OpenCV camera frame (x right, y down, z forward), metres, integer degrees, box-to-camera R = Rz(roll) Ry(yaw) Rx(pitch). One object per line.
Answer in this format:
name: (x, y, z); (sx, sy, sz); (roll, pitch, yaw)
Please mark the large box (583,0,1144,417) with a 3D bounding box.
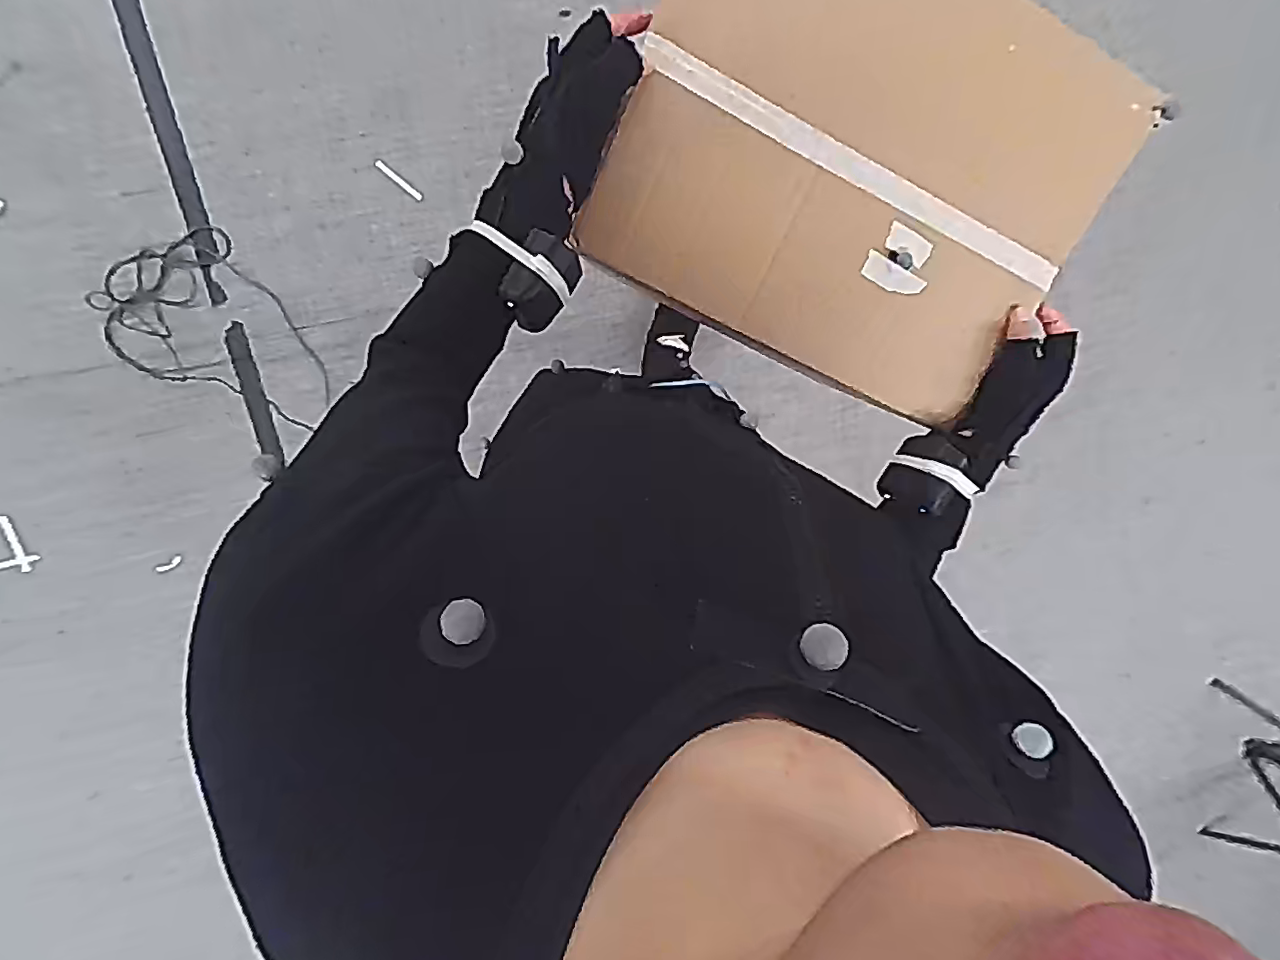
large box: (0.180, -0.315, 0.606); (0.408, 0.320, 0.320); (24, 107, -11)
